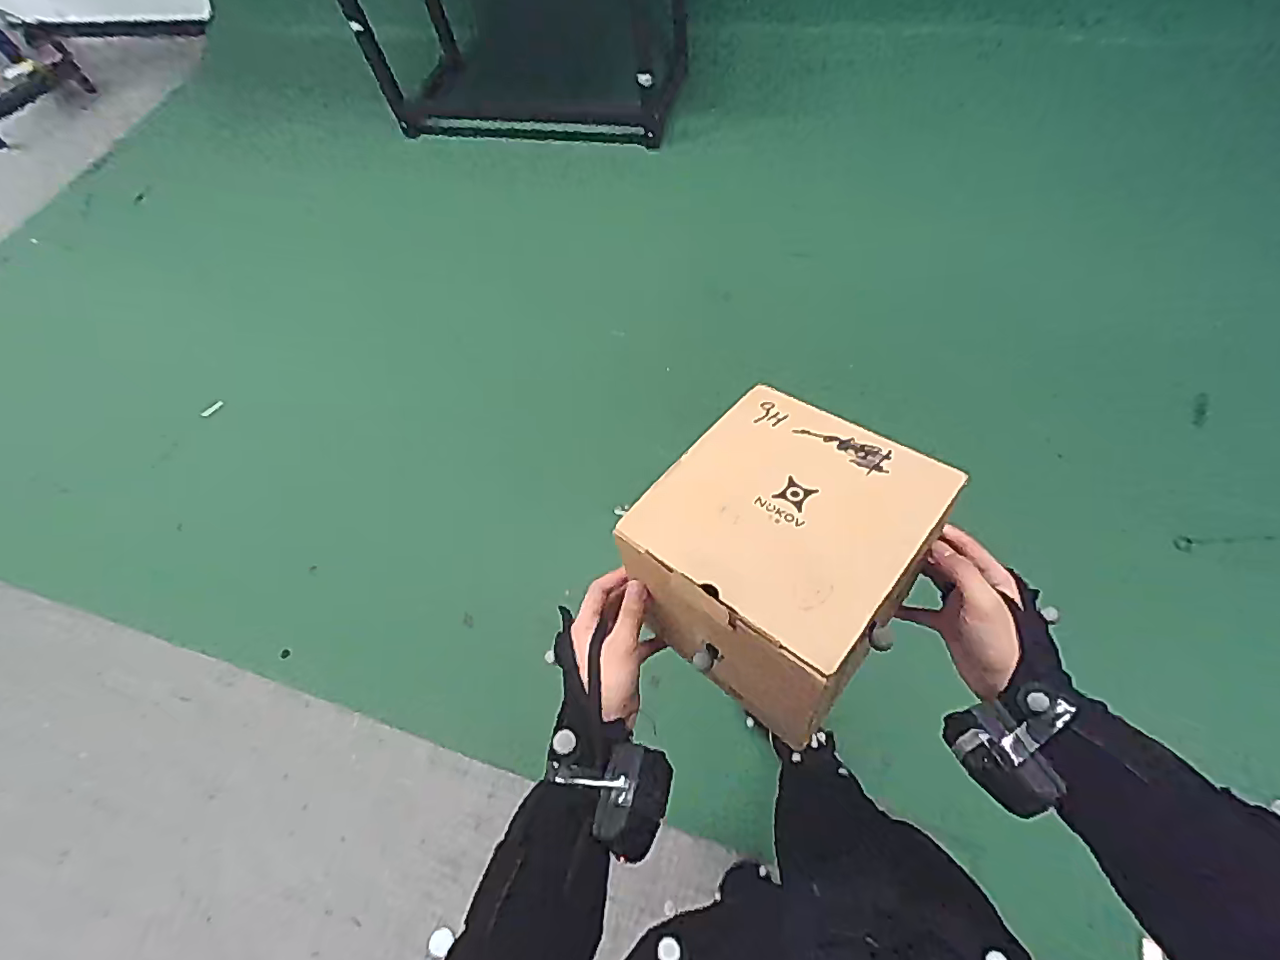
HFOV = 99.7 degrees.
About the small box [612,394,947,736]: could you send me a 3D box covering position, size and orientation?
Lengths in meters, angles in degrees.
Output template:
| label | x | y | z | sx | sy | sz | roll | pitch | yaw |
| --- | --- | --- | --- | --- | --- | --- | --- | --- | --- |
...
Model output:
| label | x | y | z | sx | sy | sz | roll | pitch | yaw |
| --- | --- | --- | --- | --- | --- | --- | --- | --- | --- |
| small box | 0.108 | 0.069 | 0.434 | 0.168 | 0.176 | 0.179 | 31 | 64 | 31 |
